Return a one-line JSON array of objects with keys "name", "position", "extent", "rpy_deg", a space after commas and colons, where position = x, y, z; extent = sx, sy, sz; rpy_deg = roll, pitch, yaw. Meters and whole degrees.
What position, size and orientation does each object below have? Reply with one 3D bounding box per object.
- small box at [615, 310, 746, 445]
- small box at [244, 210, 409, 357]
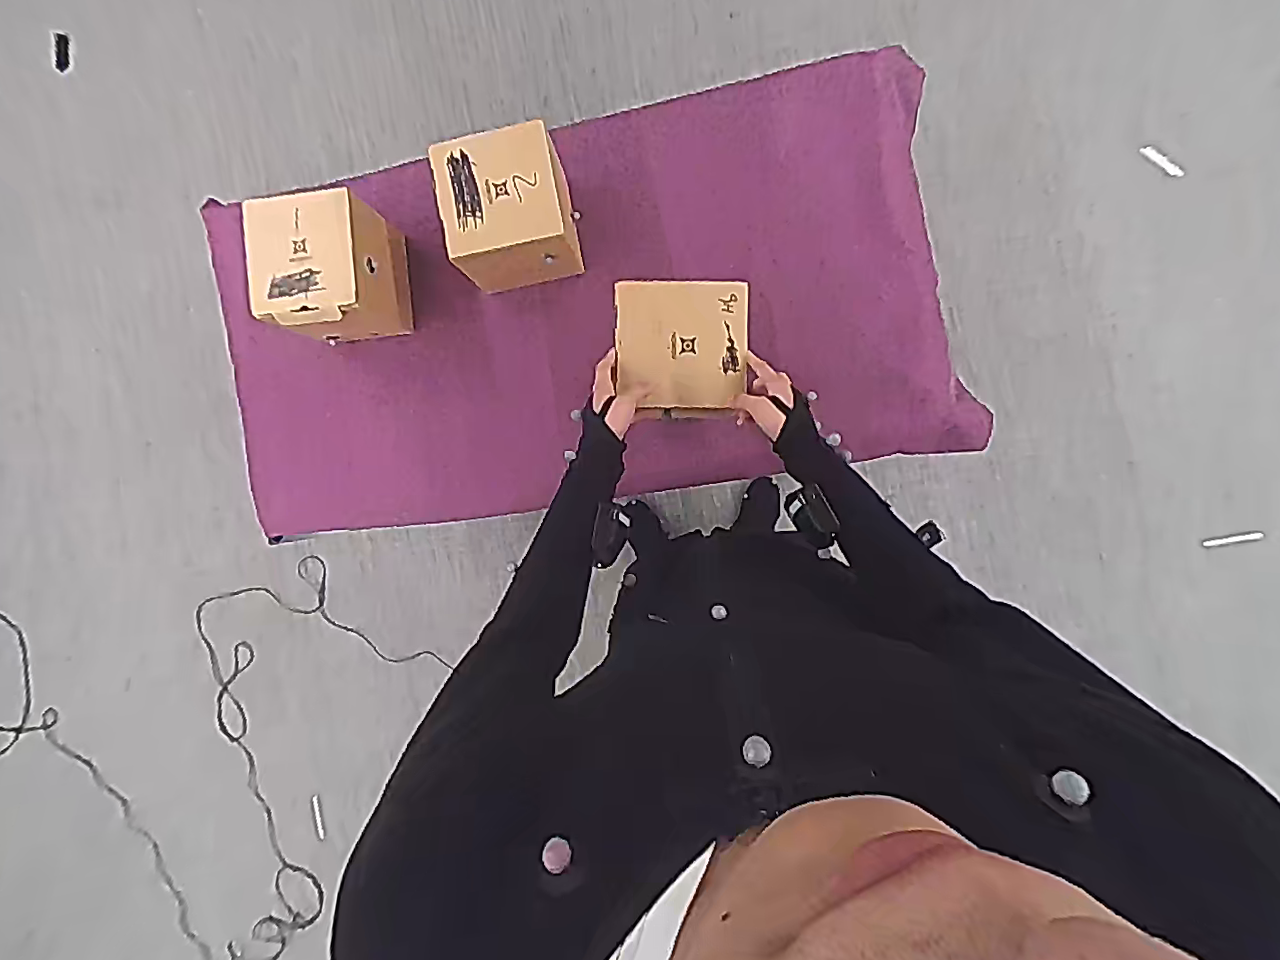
[{"name": "small box", "position": [0.059, -0.141, 0.800], "extent": [0.179, 0.176, 0.168], "rpy_deg": [-1, 88, 3]}, {"name": "small box", "position": [-0.492, -0.303, 0.873], "extent": [0.168, 0.176, 0.179], "rpy_deg": [-5, 90, 4]}]
